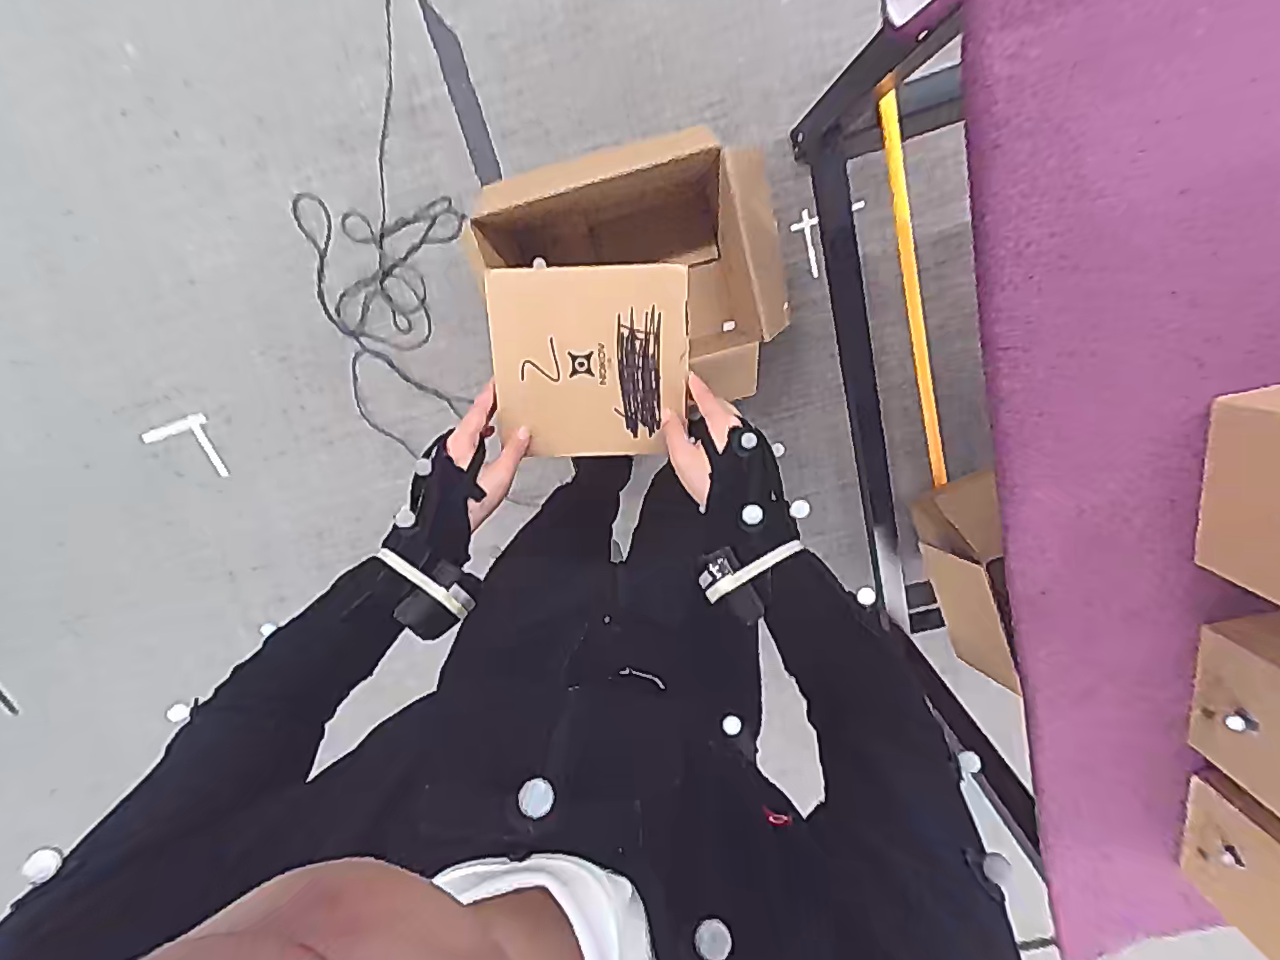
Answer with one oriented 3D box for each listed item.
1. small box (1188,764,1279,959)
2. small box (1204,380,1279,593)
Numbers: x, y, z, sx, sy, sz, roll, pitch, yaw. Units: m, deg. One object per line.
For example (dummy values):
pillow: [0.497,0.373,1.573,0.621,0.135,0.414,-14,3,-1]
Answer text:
small box: [0.755,0.423,0.571,0.179,0.176,0.168,-12,108,4]
small box: [0.620,0.011,0.434,0.168,0.176,0.179,-12,107,5]
